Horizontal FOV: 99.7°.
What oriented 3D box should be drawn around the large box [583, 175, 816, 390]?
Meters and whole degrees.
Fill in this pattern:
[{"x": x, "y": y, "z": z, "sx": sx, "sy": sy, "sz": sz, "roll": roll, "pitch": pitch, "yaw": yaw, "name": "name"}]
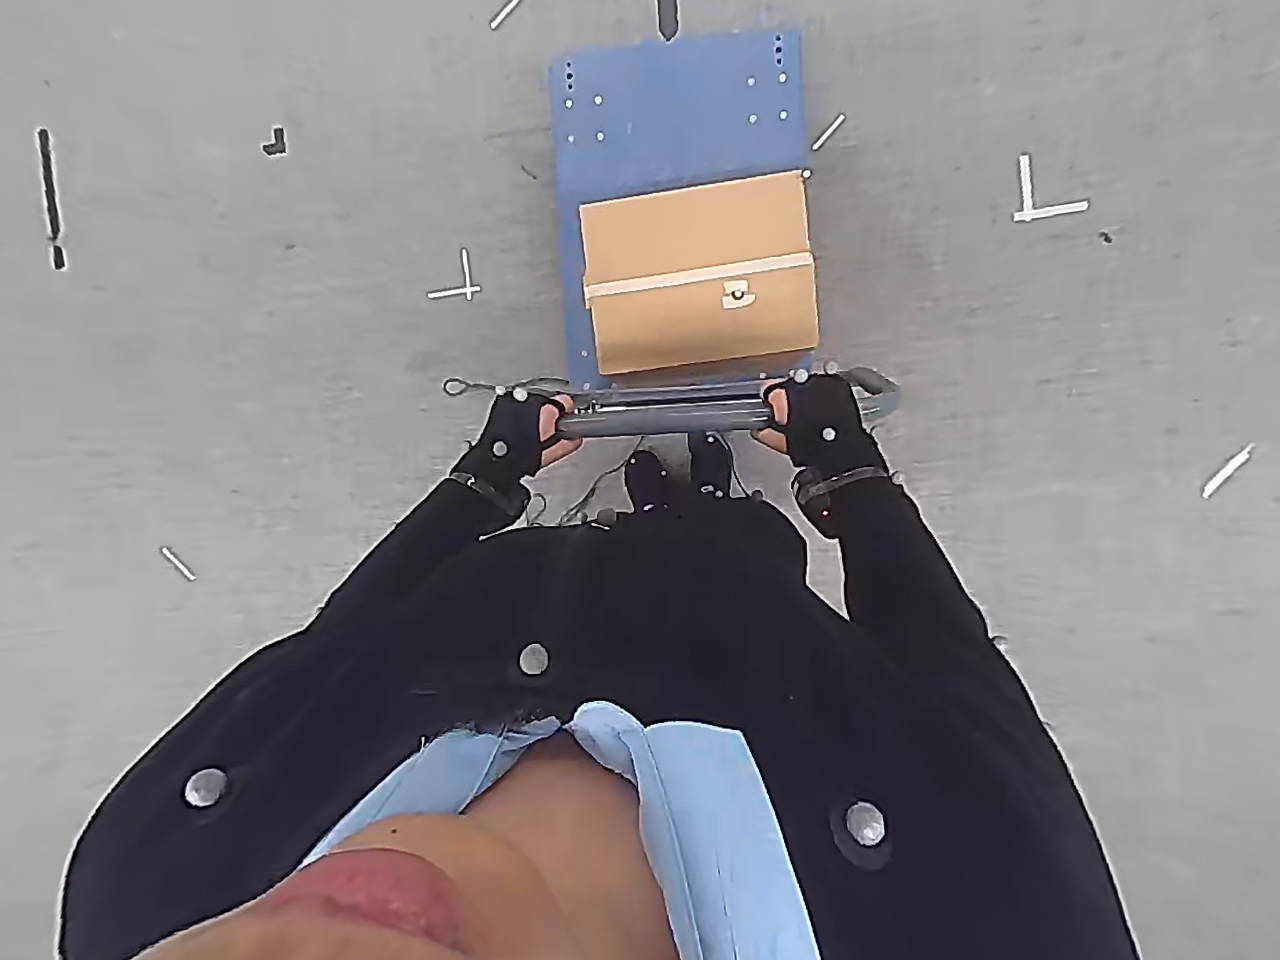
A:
[{"x": 0.118, "y": -0.383, "z": 1.142, "sx": 0.408, "sy": 0.320, "sz": 0.320, "roll": -7, "pitch": 94, "yaw": 5, "name": "large box"}]
